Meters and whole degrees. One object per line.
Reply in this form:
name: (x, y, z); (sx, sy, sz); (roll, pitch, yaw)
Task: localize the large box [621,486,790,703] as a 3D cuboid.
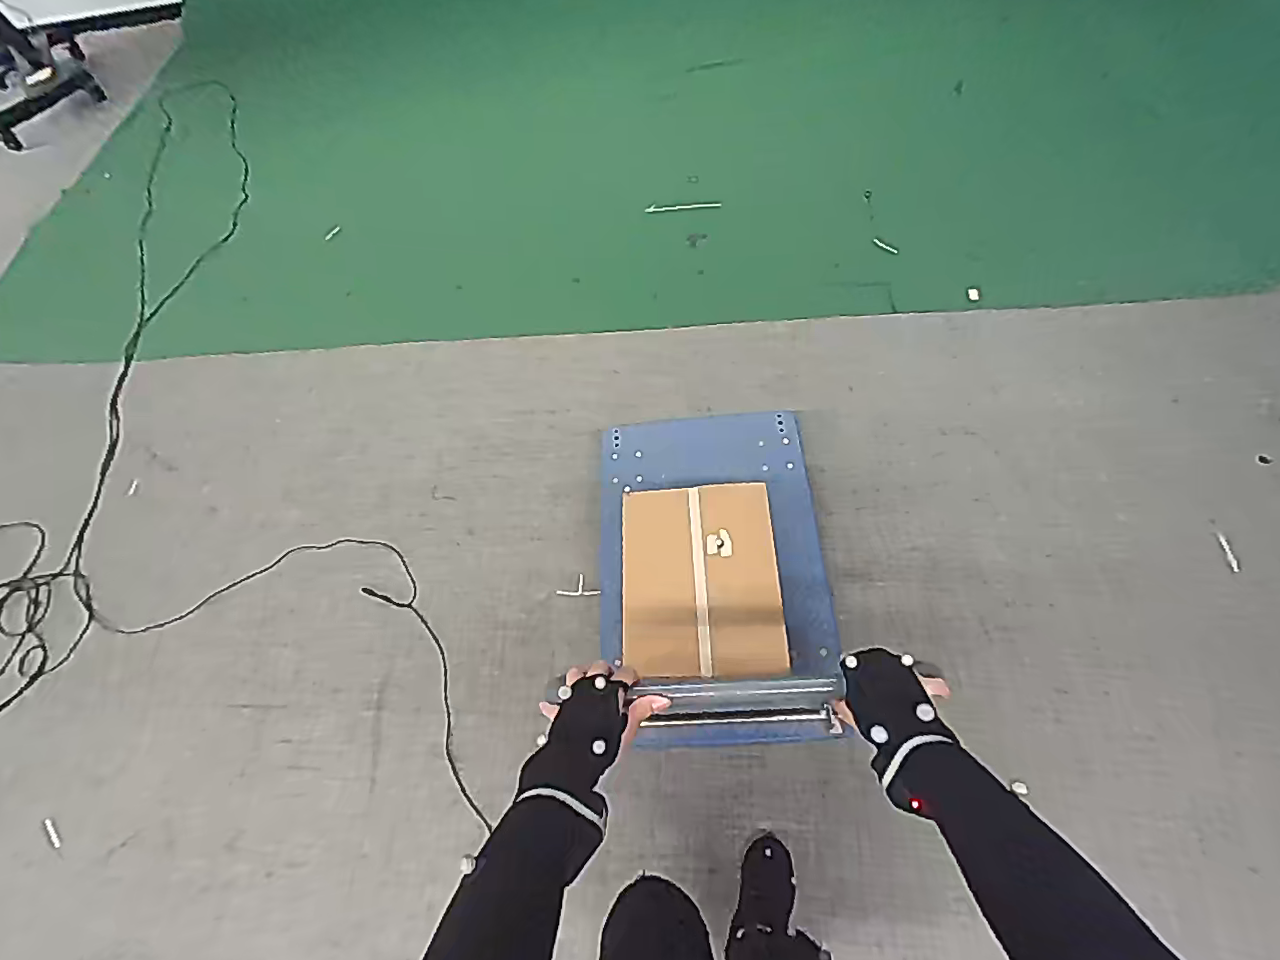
large box: (0.137, 0.270, 1.226); (0.320, 0.320, 0.408); (-4, 62, 5)
